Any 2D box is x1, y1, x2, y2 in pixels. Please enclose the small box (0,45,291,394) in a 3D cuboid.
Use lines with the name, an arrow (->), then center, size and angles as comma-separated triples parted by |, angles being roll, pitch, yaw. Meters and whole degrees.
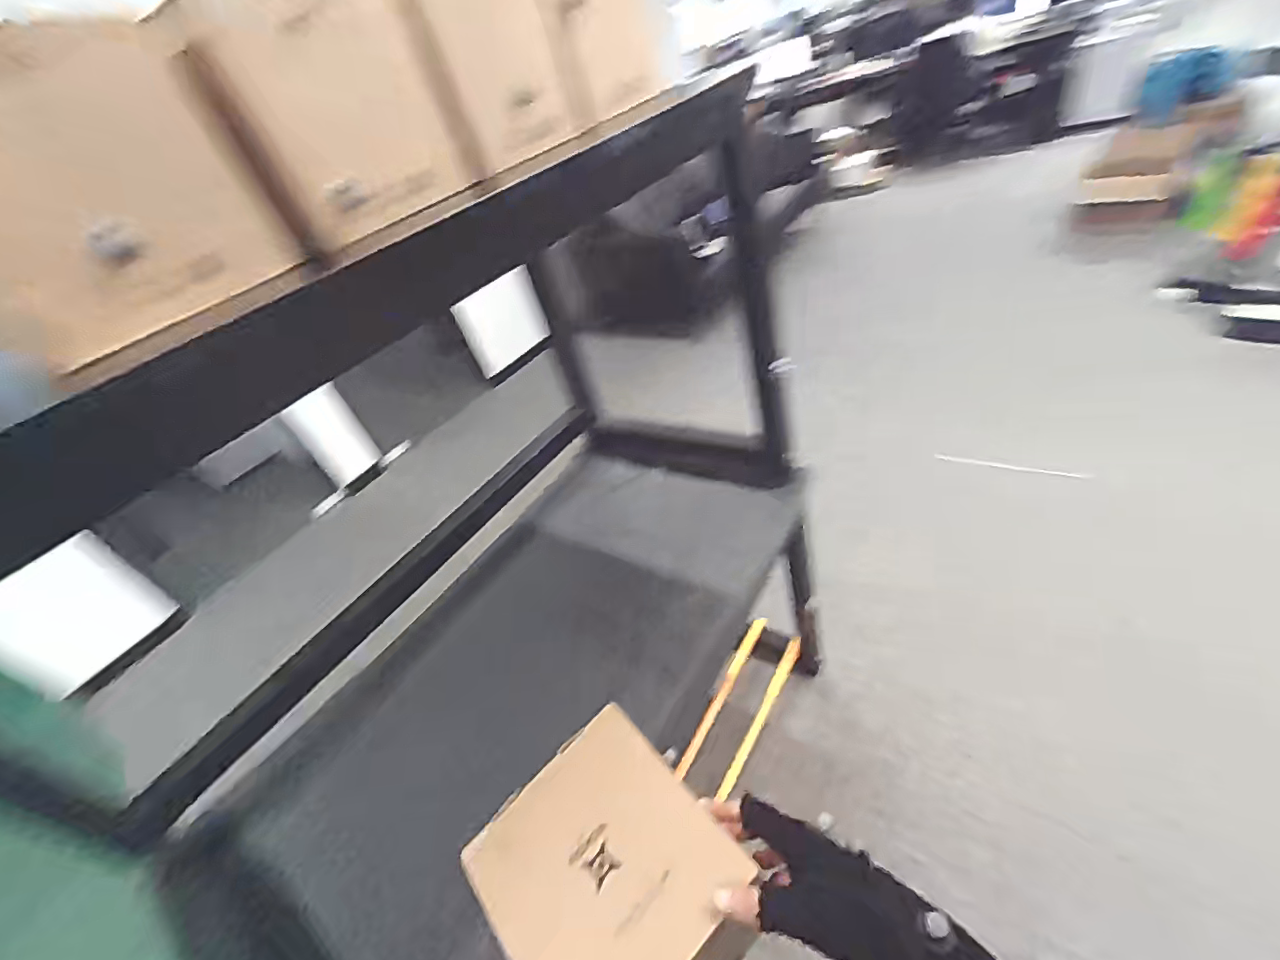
small box -> -0.409, -0.176, 0.391 | 0.179, 0.176, 0.168 | 9, 45, 32
